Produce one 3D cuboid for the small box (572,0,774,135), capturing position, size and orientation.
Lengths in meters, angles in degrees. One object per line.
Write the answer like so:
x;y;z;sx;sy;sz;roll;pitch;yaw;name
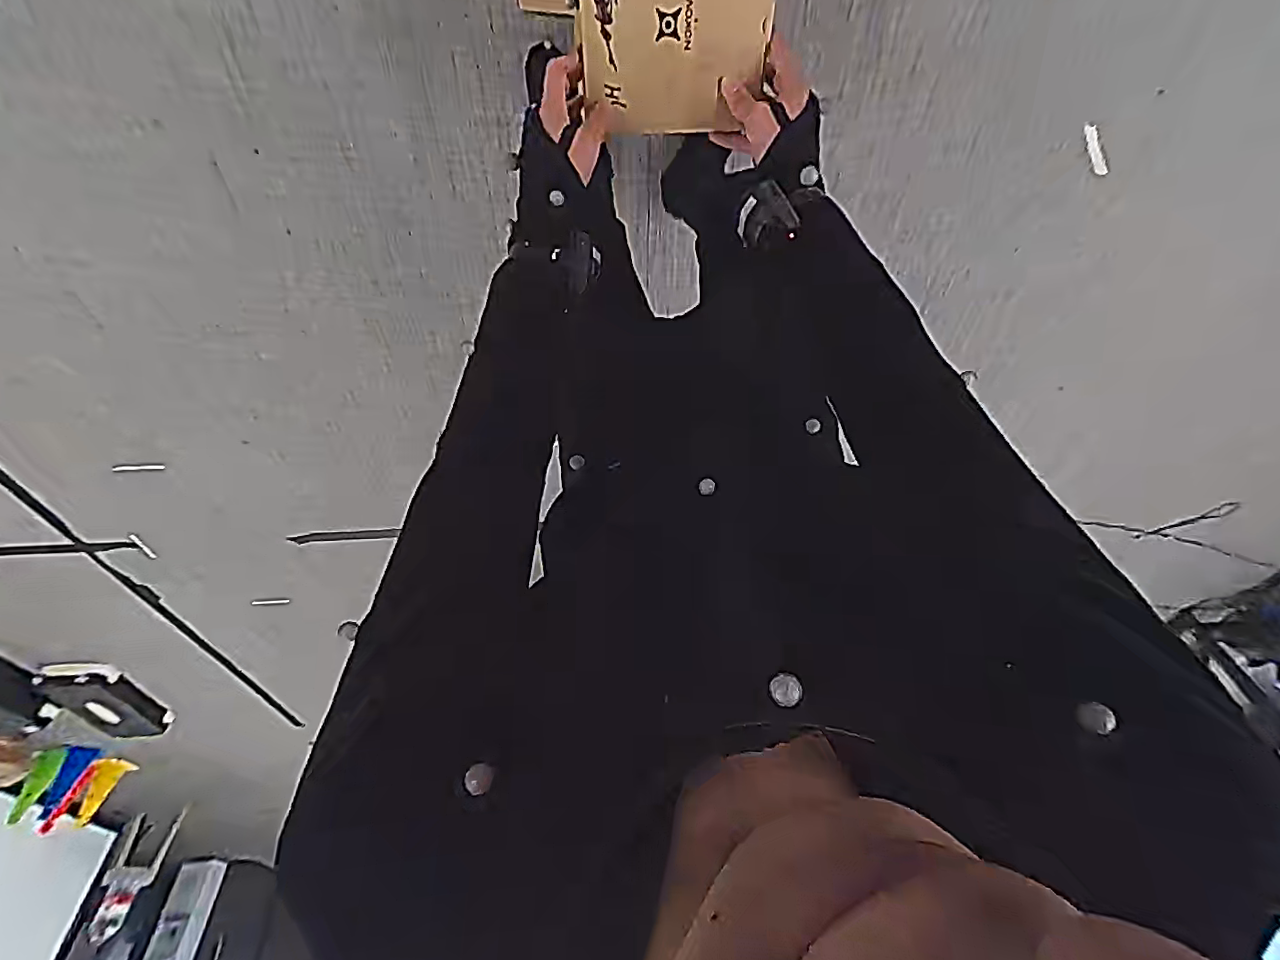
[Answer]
0.023;-0.460;0.544;0.179;0.176;0.168;-5;132;-5;small box
